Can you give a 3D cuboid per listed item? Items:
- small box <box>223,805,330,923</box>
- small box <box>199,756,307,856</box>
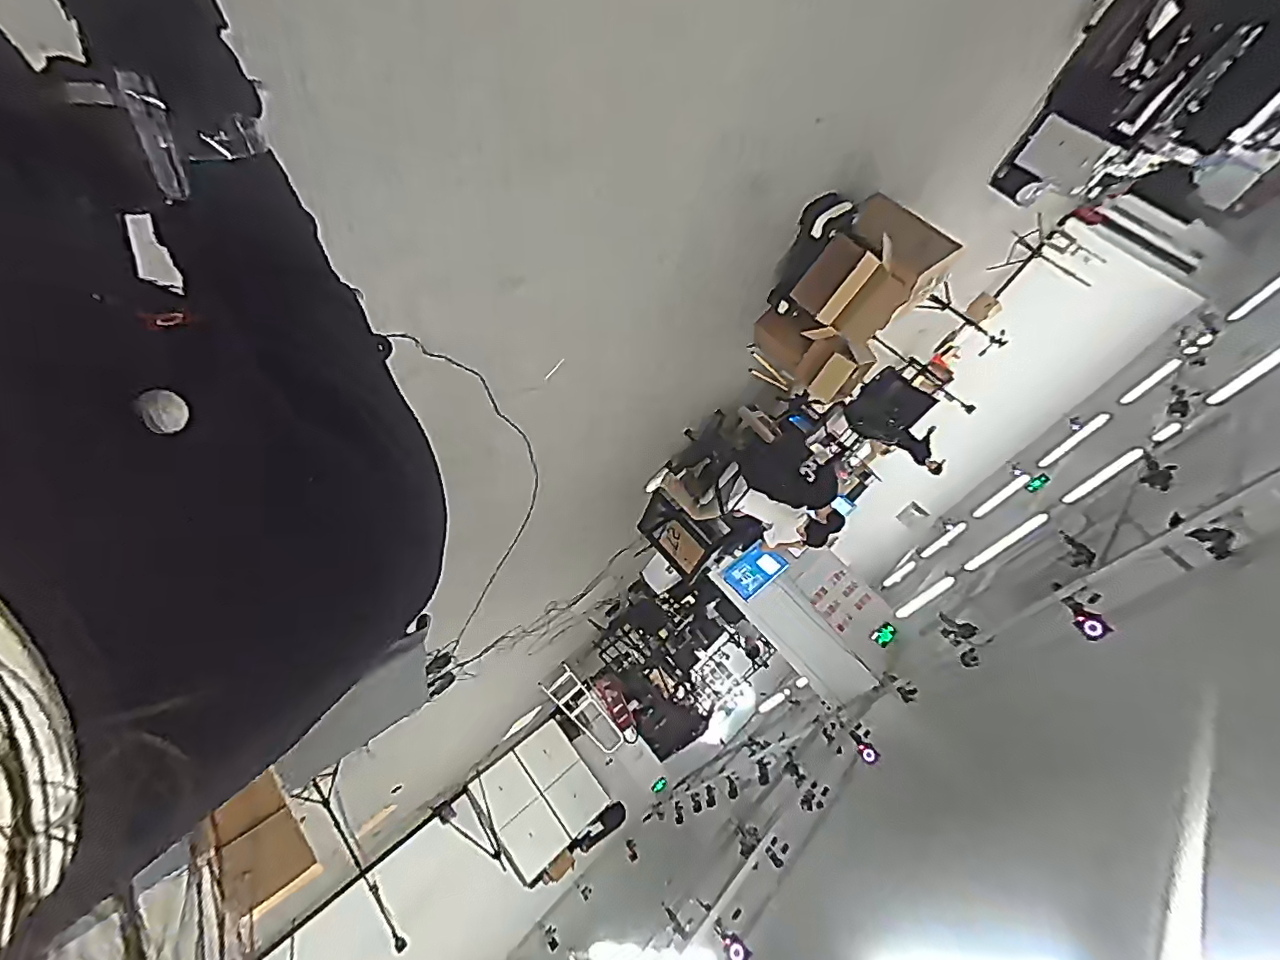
[{"bbox_3d":[-0.930,0.980,1.383,0.179,0.176,0.168,-29,158,-39],"label":"small box"},{"bbox_3d":[-1.036,0.877,1.450,0.168,0.176,0.179,-31,156,-34],"label":"small box"}]
